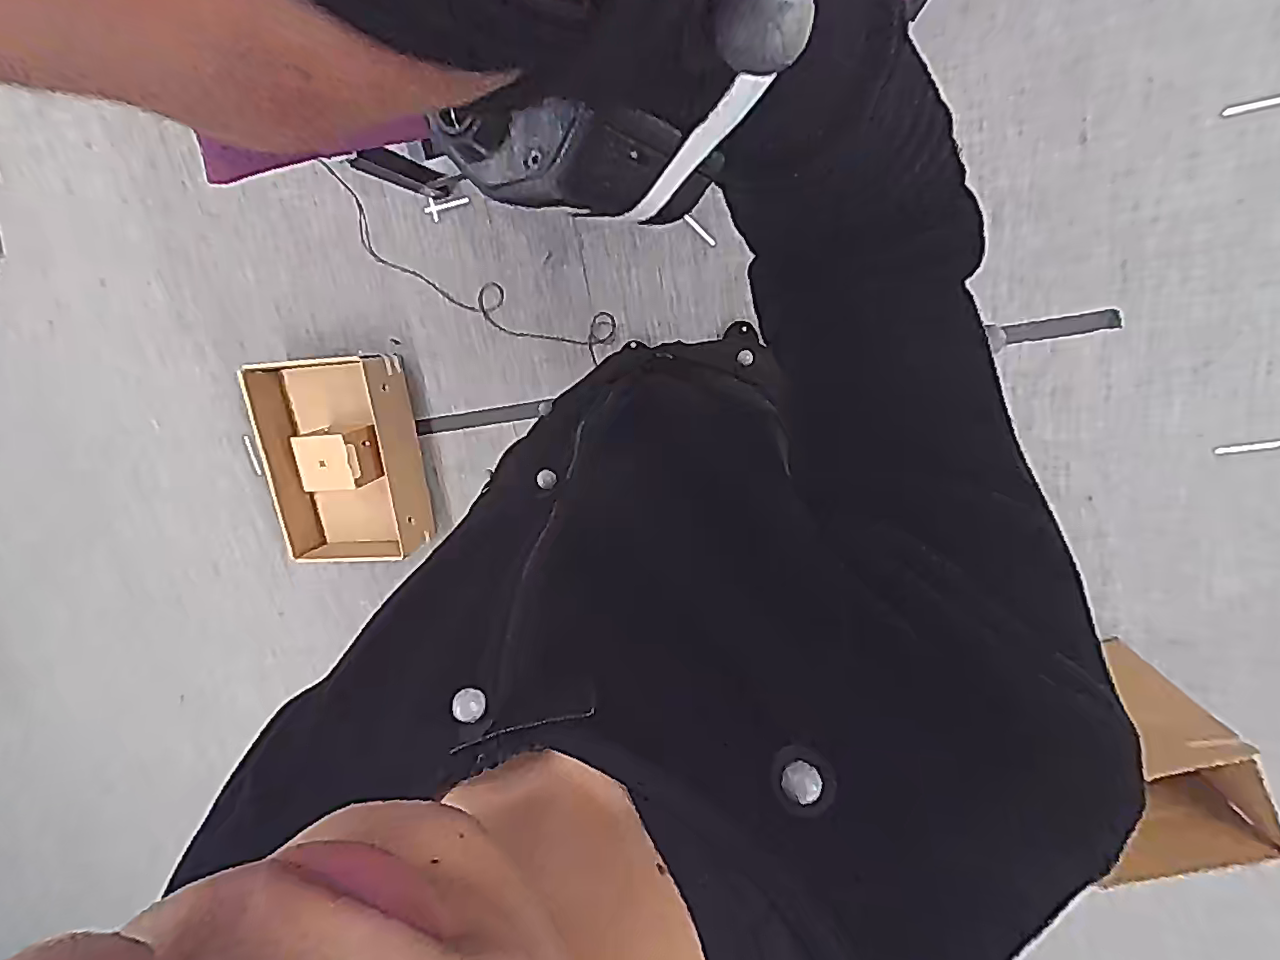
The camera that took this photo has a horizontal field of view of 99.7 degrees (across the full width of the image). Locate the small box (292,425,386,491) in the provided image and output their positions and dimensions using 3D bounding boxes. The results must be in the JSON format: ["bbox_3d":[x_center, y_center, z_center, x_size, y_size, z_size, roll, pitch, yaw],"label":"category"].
[{"bbox_3d":[-0.900,-0.070,1.639,0.179,0.176,0.168,-2,106,9],"label":"small box"}]
